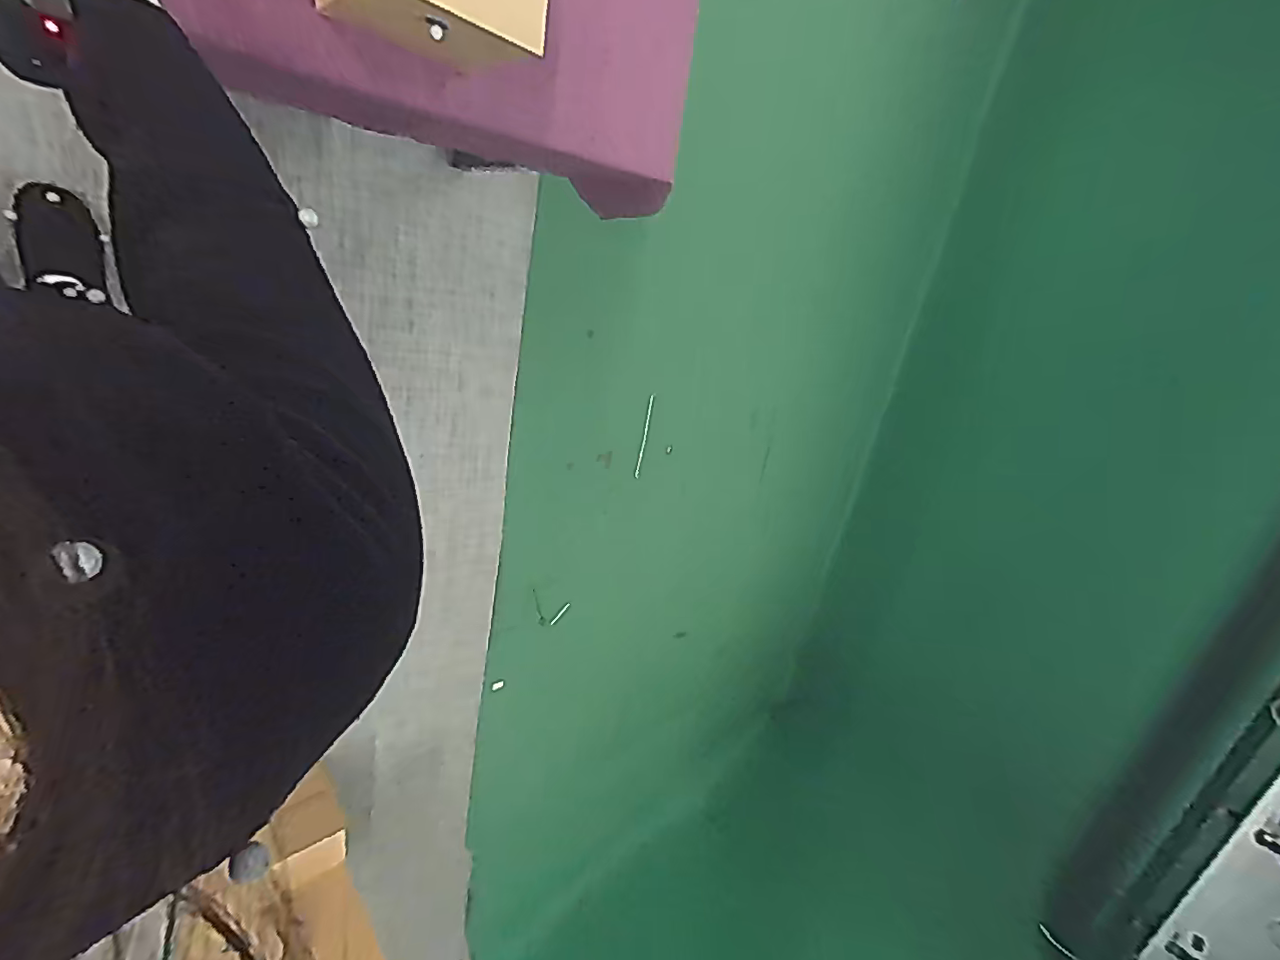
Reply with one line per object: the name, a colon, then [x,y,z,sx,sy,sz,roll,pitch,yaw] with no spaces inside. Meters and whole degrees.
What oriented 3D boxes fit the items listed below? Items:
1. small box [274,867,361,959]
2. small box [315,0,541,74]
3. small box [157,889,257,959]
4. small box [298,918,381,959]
small box: [-0.896,1.241,1.500,0.179,0.176,0.168,-13,123,-44]
small box: [-0.216,-0.543,0.548,0.179,0.176,0.168,-11,119,-45]
small box: [-1.029,1.138,1.285,0.168,0.176,0.179,-4,116,-46]
small box: [-0.780,1.307,1.406,0.179,0.176,0.168,-11,122,-44]
